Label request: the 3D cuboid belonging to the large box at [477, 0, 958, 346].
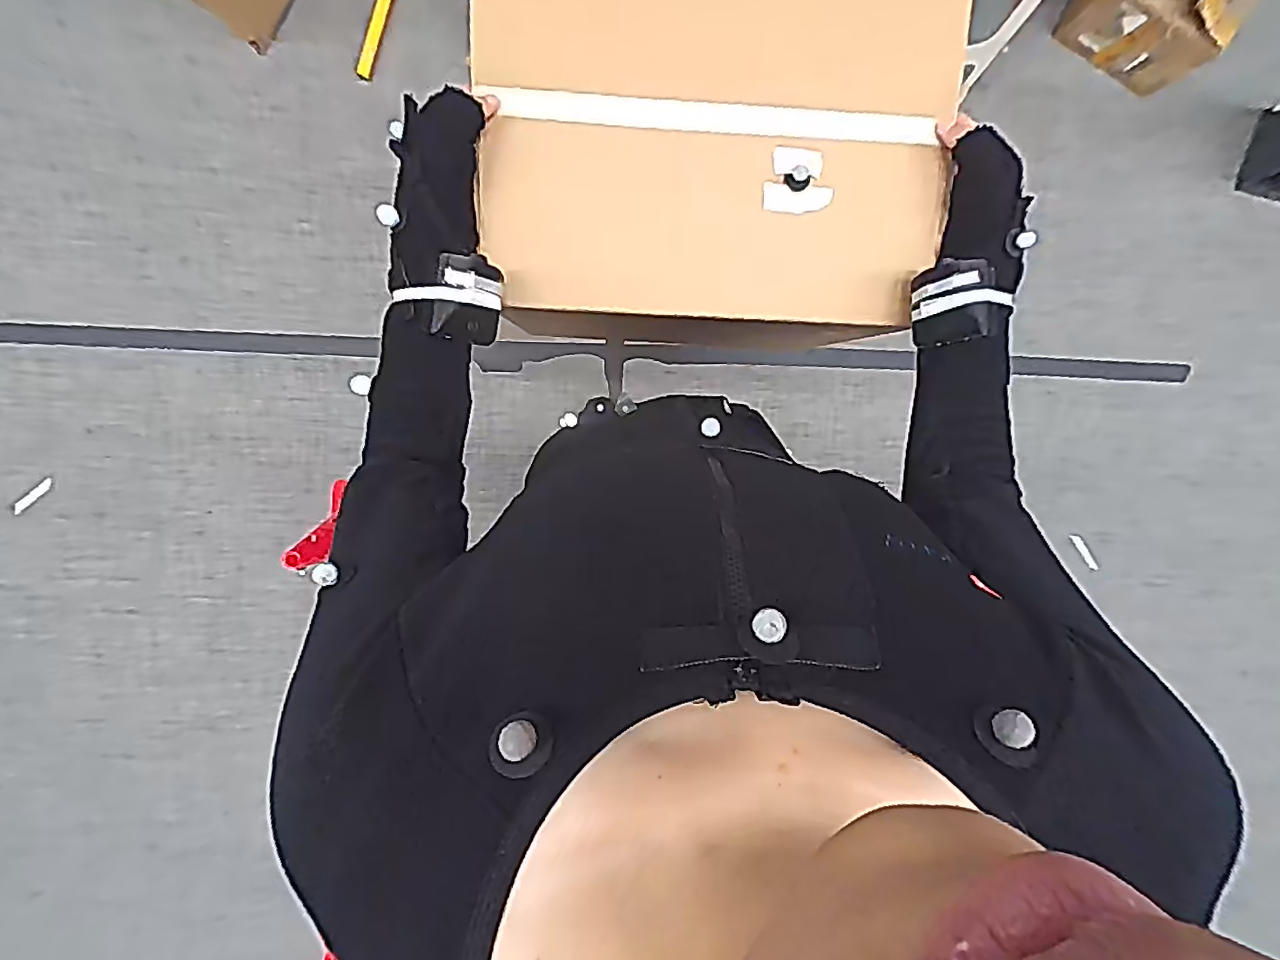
[{"bbox_3d":[0.054,-0.324,0.602,0.408,0.320,0.320,1,100,-5],"label":"large box"}]
